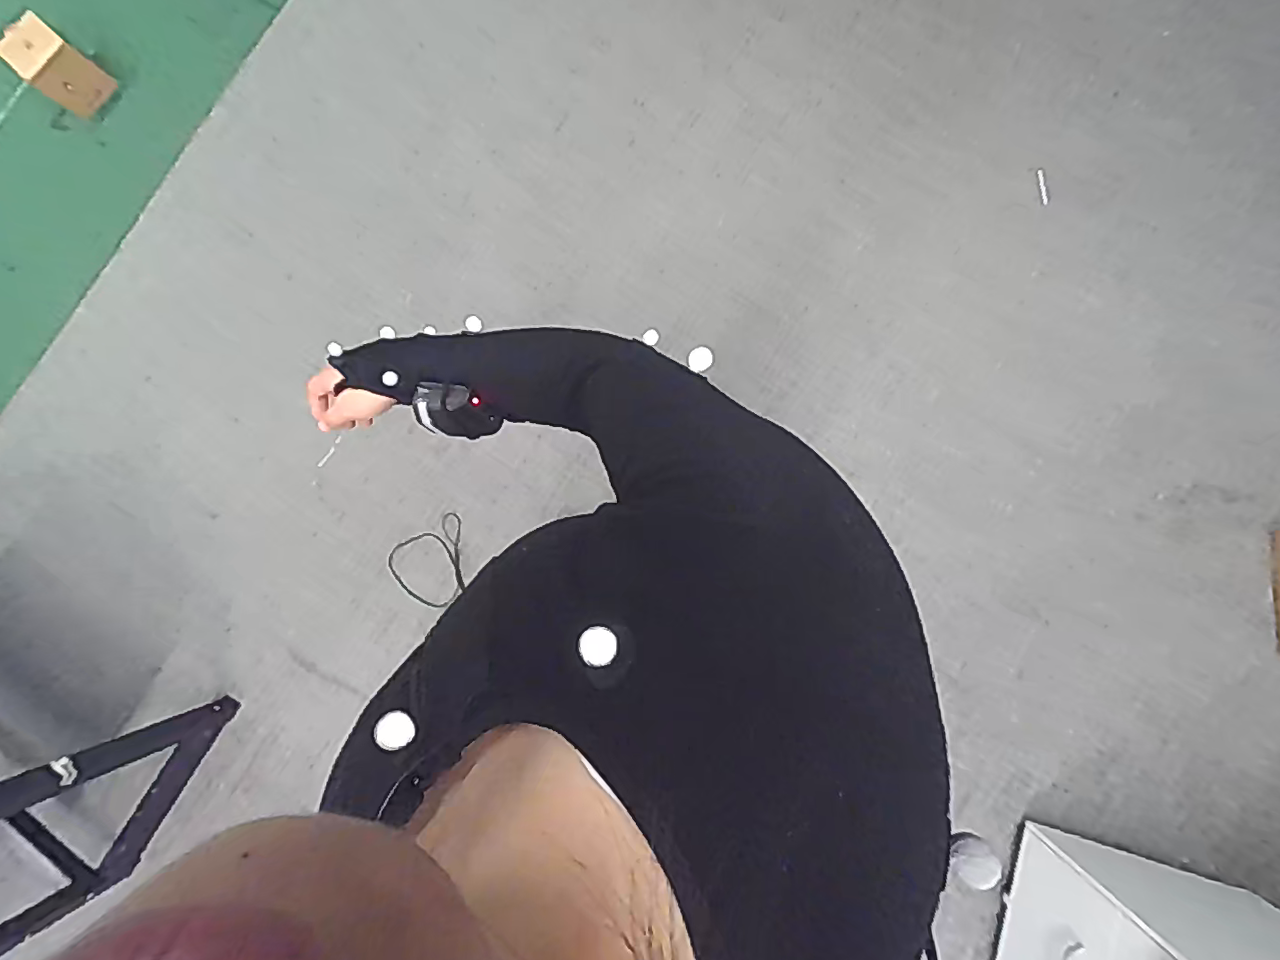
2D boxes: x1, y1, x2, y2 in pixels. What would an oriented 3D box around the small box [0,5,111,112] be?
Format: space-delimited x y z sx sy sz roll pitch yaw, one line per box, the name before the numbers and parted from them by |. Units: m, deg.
small box | -1.827 -1.295 1.682 0.179 0.176 0.168 41 89 7
